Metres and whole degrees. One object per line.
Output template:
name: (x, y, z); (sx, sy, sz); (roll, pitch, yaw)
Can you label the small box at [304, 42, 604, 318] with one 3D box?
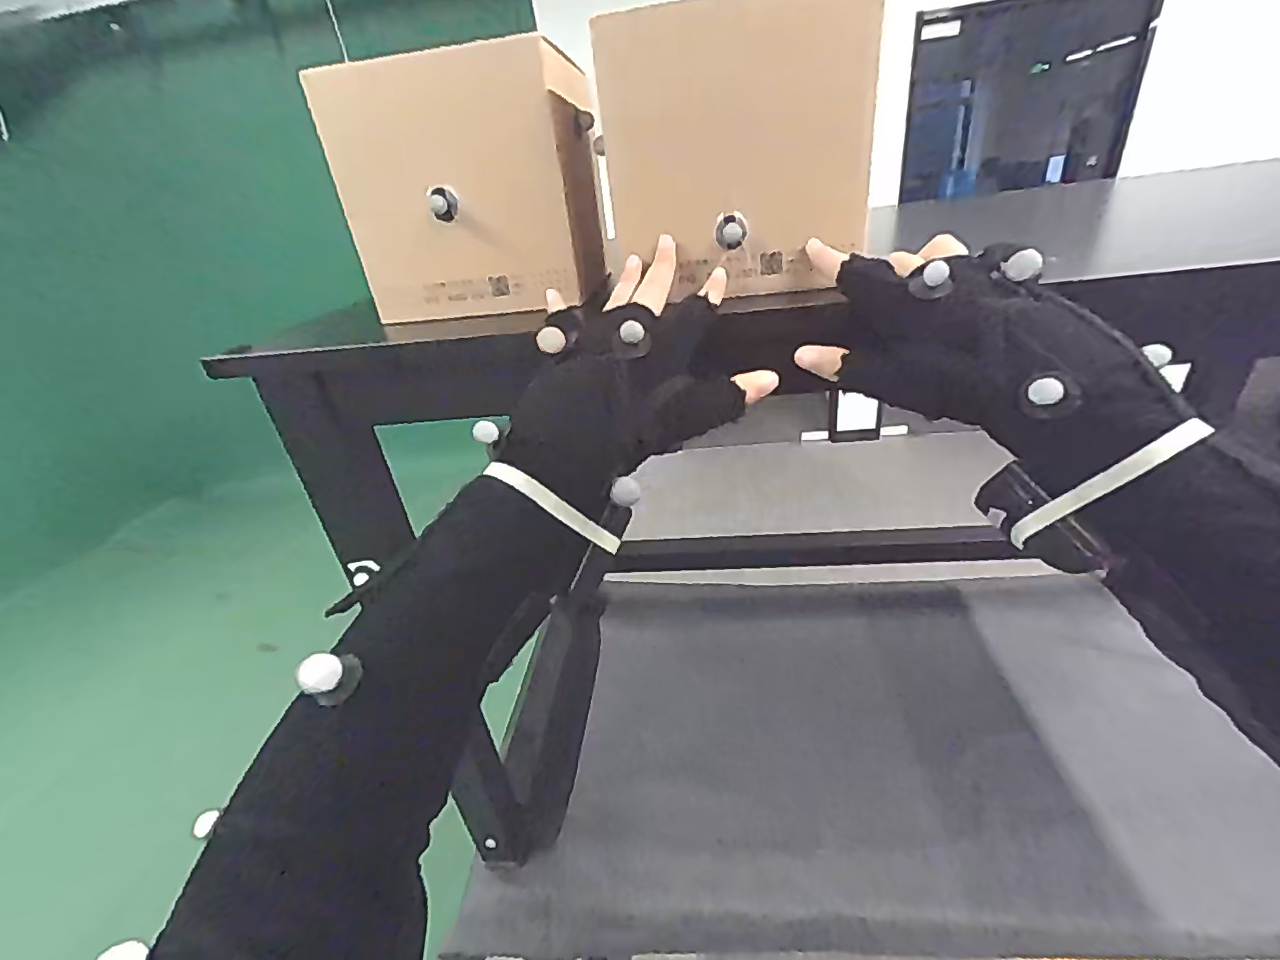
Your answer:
small box: (-0.129, -0.238, 0.460); (0.168, 0.176, 0.179); (-2, 29, 7)
